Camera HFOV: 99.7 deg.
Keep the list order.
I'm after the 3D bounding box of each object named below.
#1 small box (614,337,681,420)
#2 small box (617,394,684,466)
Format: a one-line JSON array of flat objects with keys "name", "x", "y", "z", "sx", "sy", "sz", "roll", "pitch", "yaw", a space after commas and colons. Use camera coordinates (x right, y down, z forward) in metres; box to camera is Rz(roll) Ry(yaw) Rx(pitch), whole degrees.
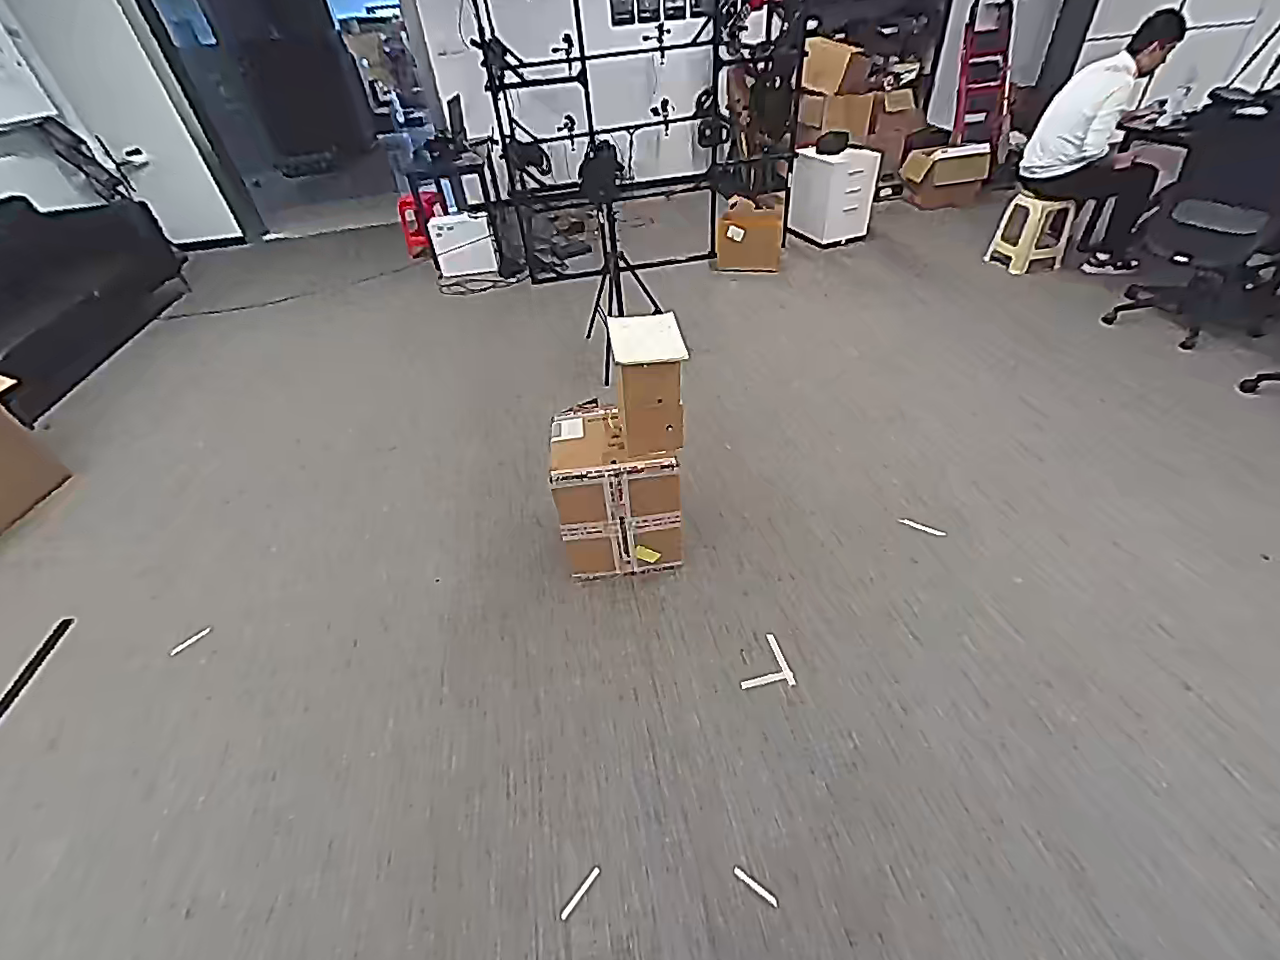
[{"name": "small box", "x": 0.019, "y": -0.293, "z": 1.559, "sx": 0.168, "sy": 0.176, "sz": 0.179, "roll": -8, "pitch": 42, "yaw": -6}, {"name": "small box", "x": 0.031, "y": -0.165, "z": 1.660, "sx": 0.179, "sy": 0.176, "sz": 0.168, "roll": -11, "pitch": 42, "yaw": -7}]
